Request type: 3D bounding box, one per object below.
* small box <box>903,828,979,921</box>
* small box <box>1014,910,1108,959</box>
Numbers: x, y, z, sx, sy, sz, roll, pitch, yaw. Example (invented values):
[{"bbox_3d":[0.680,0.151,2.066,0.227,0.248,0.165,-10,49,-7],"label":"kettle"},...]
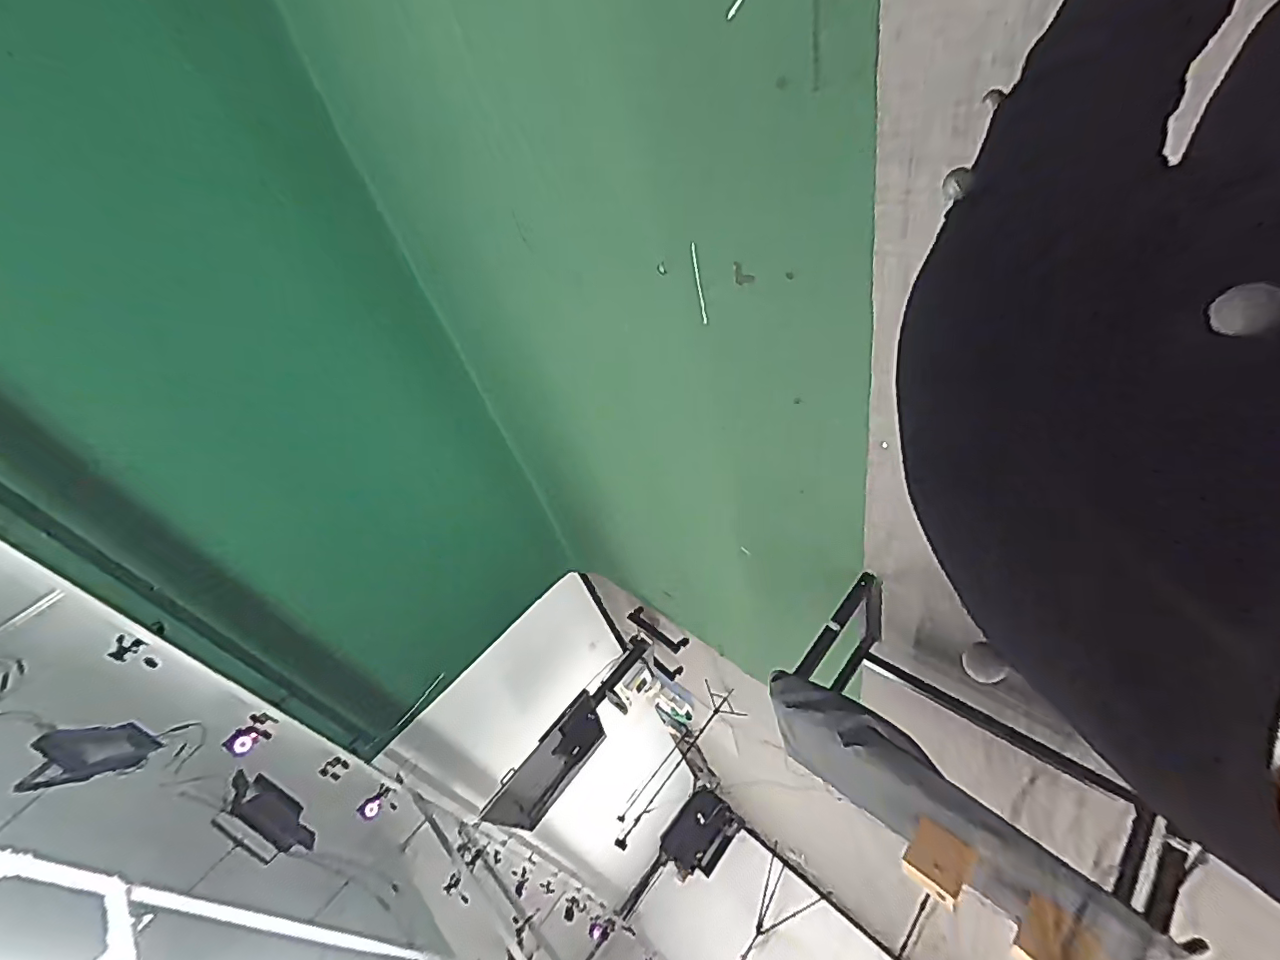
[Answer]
[{"bbox_3d":[1.018,1.329,1.828,0.179,0.176,0.168,24,146,41],"label":"small box"},{"bbox_3d":[1.254,1.438,1.618,0.179,0.176,0.168,22,145,43],"label":"small box"}]
